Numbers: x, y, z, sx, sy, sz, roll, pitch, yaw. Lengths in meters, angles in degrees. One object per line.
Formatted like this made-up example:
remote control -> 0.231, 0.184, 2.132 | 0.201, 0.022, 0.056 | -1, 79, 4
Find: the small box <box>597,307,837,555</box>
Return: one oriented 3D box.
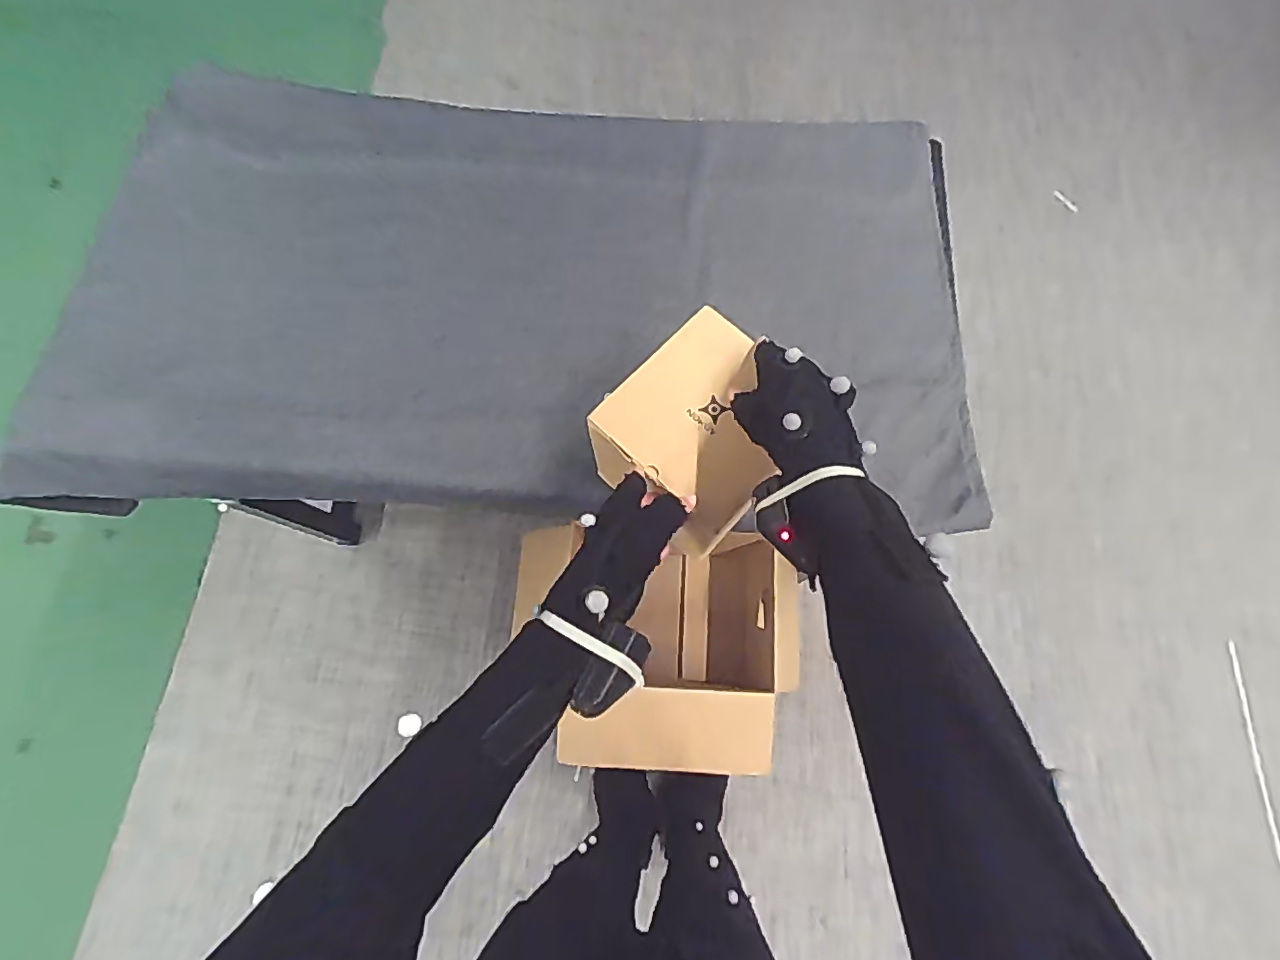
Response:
small box -> 0.072, -0.042, 0.588 | 0.168, 0.176, 0.179 | 42, 78, 11
